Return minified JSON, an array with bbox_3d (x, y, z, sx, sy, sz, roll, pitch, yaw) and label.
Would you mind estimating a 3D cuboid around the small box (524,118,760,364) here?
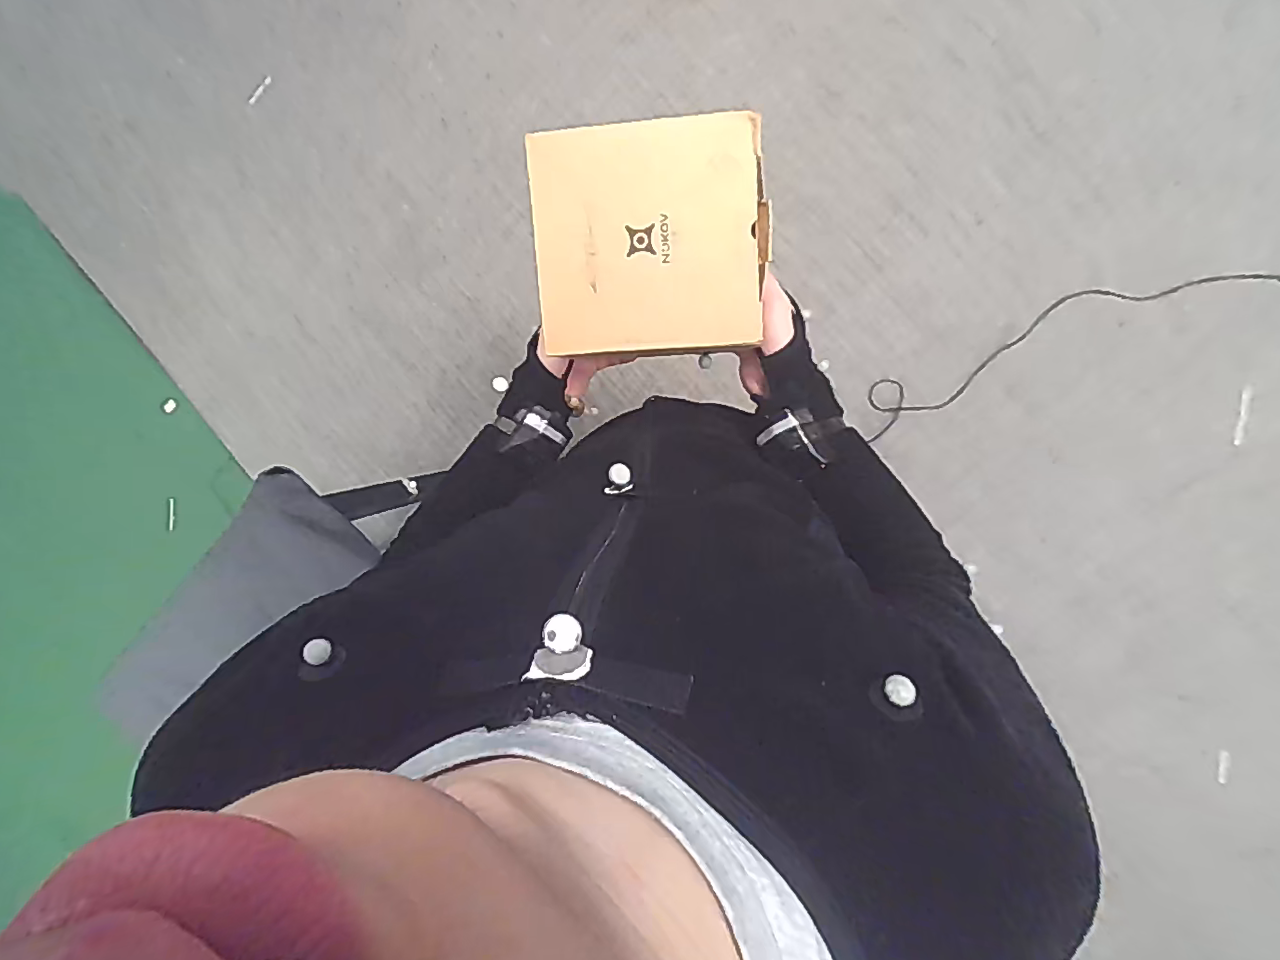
[{"bbox_3d":[0.010,-0.195,0.492,0.179,0.176,0.168,-2,100,8],"label":"small box"}]
